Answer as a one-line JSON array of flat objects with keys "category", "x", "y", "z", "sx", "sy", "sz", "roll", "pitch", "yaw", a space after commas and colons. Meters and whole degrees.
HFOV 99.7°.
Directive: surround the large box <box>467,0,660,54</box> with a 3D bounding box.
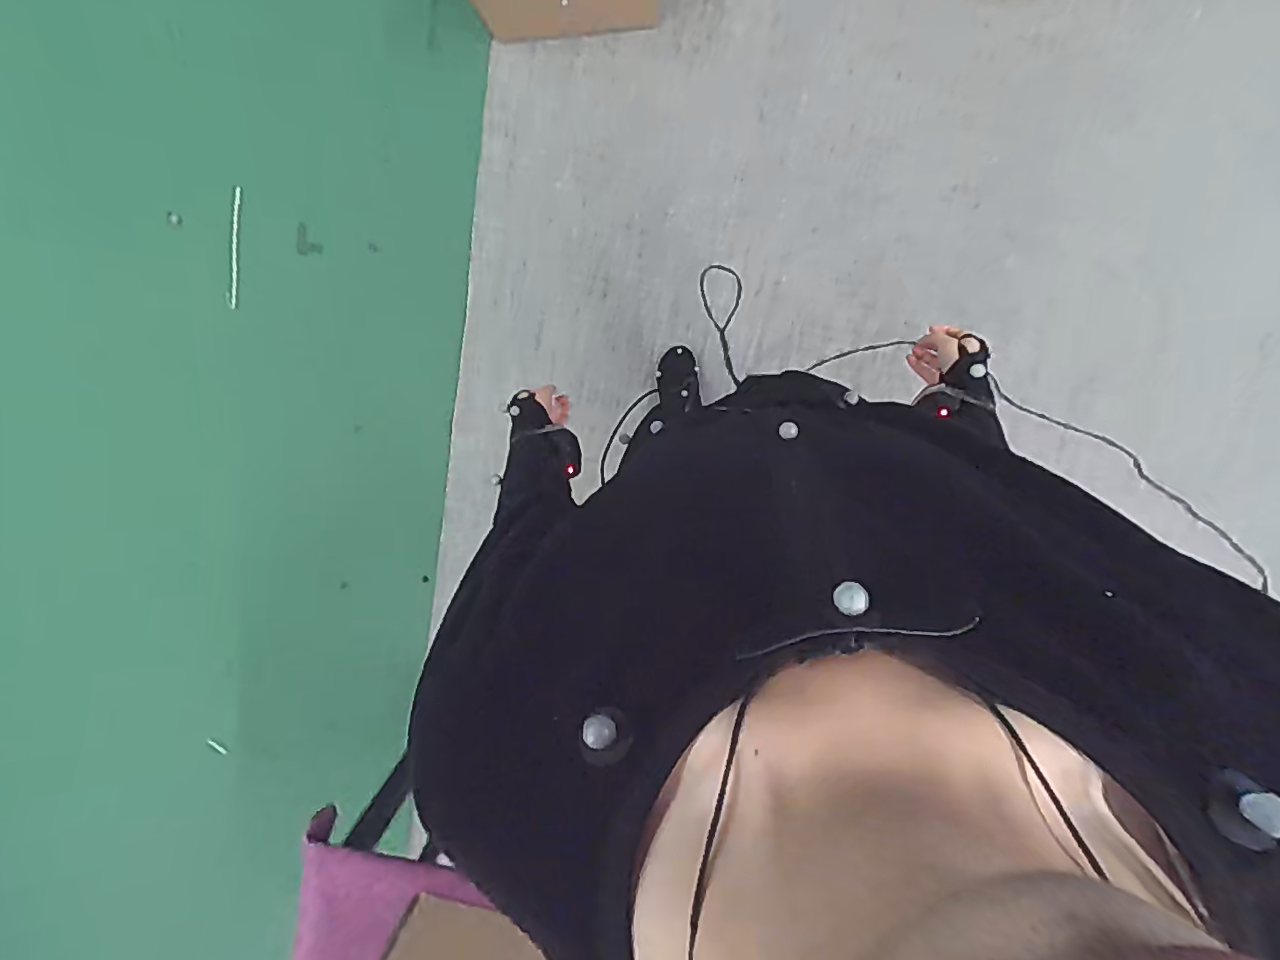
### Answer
[{"category": "large box", "x": -0.173, "y": -1.181, "z": 1.149, "sx": 0.408, "sy": 0.320, "sz": 0.320, "roll": -2, "pitch": 100, "yaw": 6}]
